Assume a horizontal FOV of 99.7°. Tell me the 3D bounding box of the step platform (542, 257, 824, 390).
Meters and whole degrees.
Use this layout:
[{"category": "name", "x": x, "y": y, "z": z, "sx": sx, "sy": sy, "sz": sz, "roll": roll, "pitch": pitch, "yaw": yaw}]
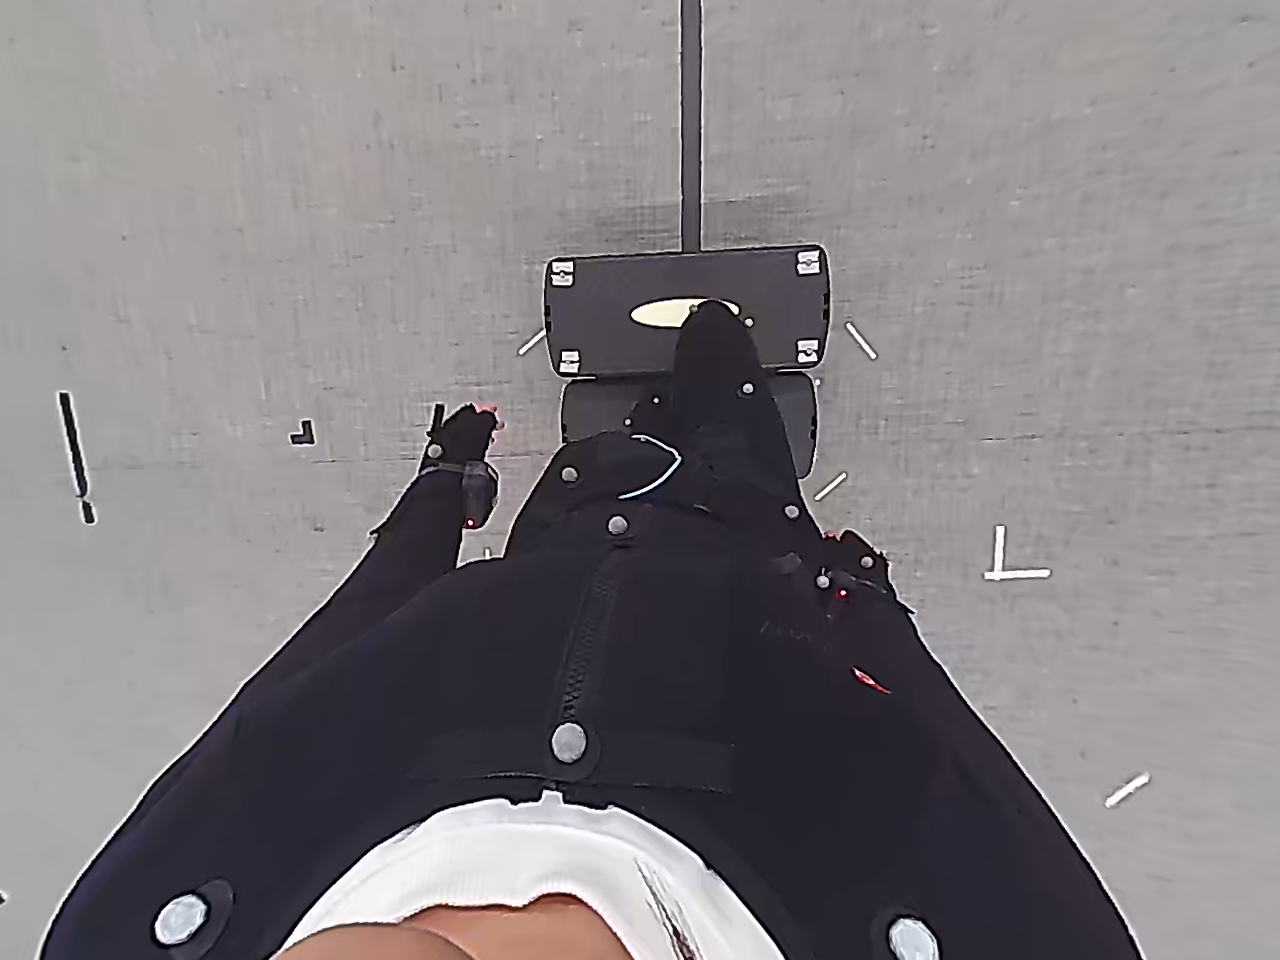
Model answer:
[{"category": "step platform", "x": 0.102, "y": -0.384, "z": 1.354, "sx": 0.684, "sy": 0.204, "sz": 0.286, "roll": -2, "pitch": 102, "yaw": 3}]
